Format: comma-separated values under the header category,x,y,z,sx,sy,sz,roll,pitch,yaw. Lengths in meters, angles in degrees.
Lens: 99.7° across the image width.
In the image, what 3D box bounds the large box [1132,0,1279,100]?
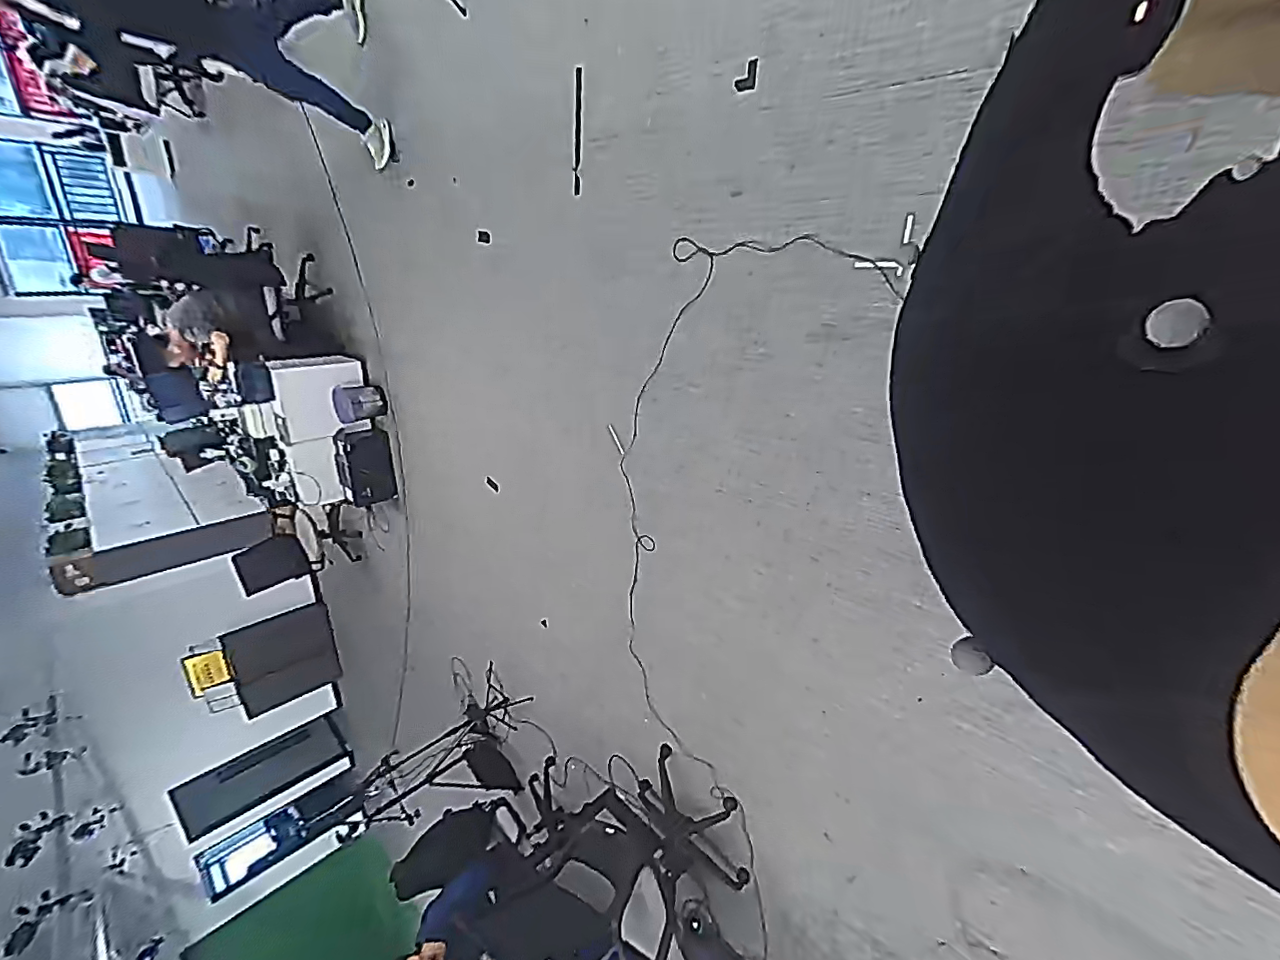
category,x,y,z,sx,sy,sz,roll,pitch,yaw
large box,0.647,-0.475,0.357,0.408,0.320,0.320,27,123,35
